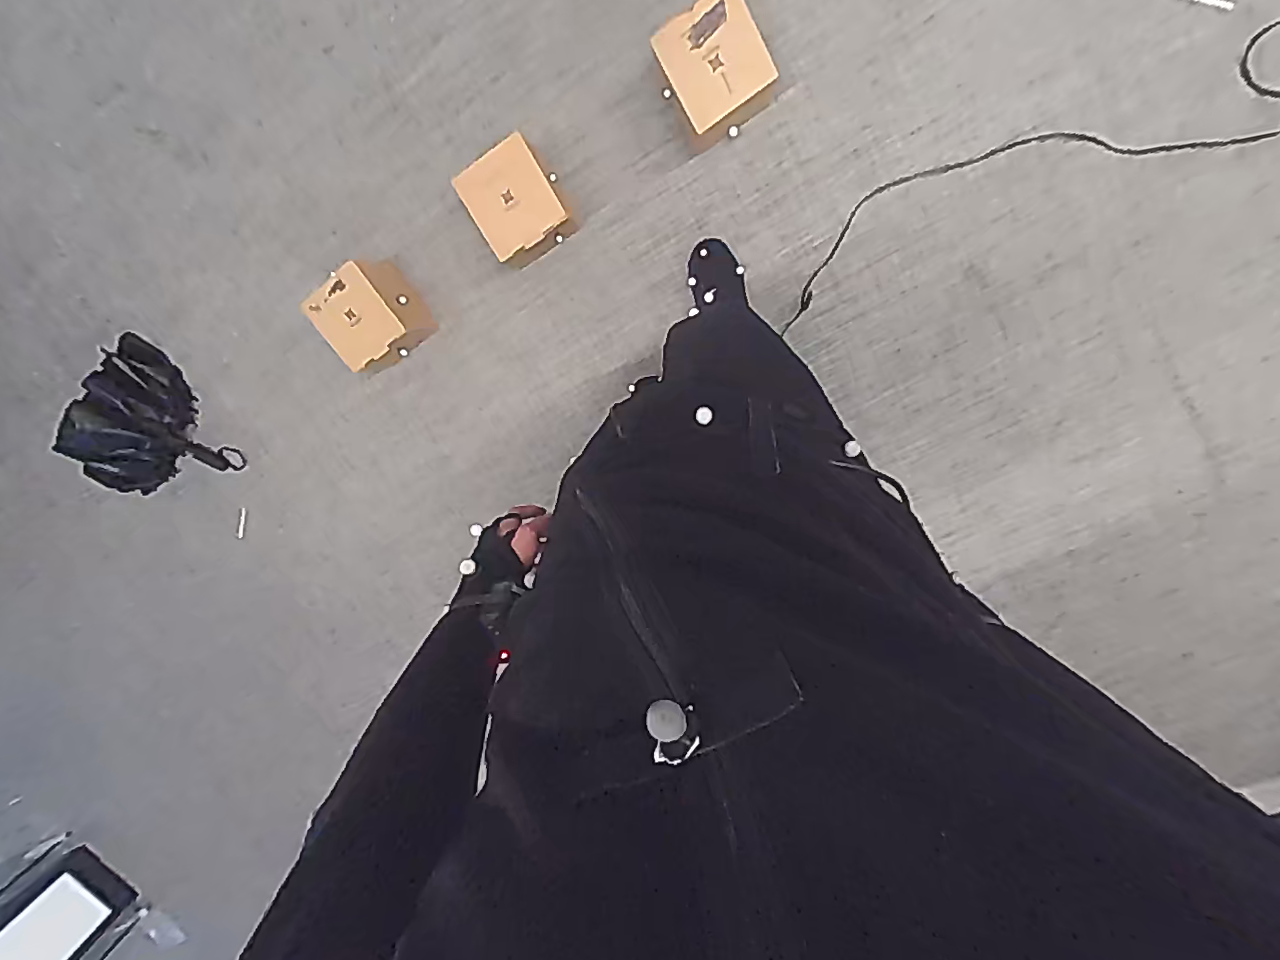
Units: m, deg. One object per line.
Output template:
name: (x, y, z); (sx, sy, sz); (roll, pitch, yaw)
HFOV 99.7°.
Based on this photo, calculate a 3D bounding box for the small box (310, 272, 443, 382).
small box: (-0.586, -0.351, 1.232); (0.168, 0.176, 0.179); (-33, 103, 15)

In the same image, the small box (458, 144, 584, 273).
small box: (-0.237, -0.553, 1.131); (0.168, 0.176, 0.179); (-30, 102, 13)

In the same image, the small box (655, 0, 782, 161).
small box: (0.145, -0.746, 1.023); (0.168, 0.176, 0.179); (-30, 103, 15)
